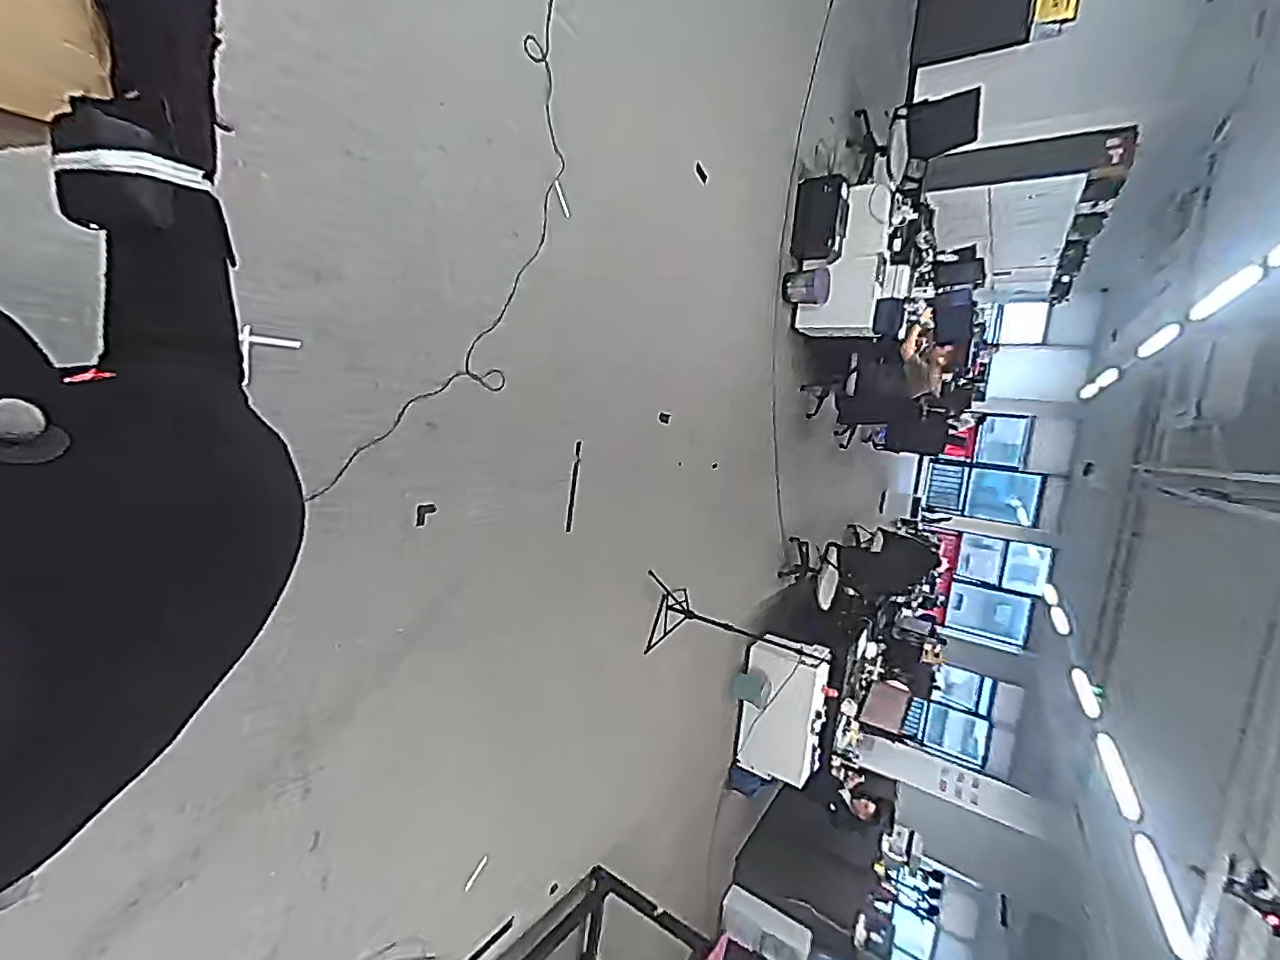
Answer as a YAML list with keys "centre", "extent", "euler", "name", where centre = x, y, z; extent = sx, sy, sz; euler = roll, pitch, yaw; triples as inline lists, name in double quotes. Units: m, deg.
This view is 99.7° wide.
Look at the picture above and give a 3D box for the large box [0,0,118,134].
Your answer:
- centre: [-0.573, -0.403, 0.244]
  extent: [0.408, 0.320, 0.320]
  euler: [-15, 120, -57]
  name: "large box"
